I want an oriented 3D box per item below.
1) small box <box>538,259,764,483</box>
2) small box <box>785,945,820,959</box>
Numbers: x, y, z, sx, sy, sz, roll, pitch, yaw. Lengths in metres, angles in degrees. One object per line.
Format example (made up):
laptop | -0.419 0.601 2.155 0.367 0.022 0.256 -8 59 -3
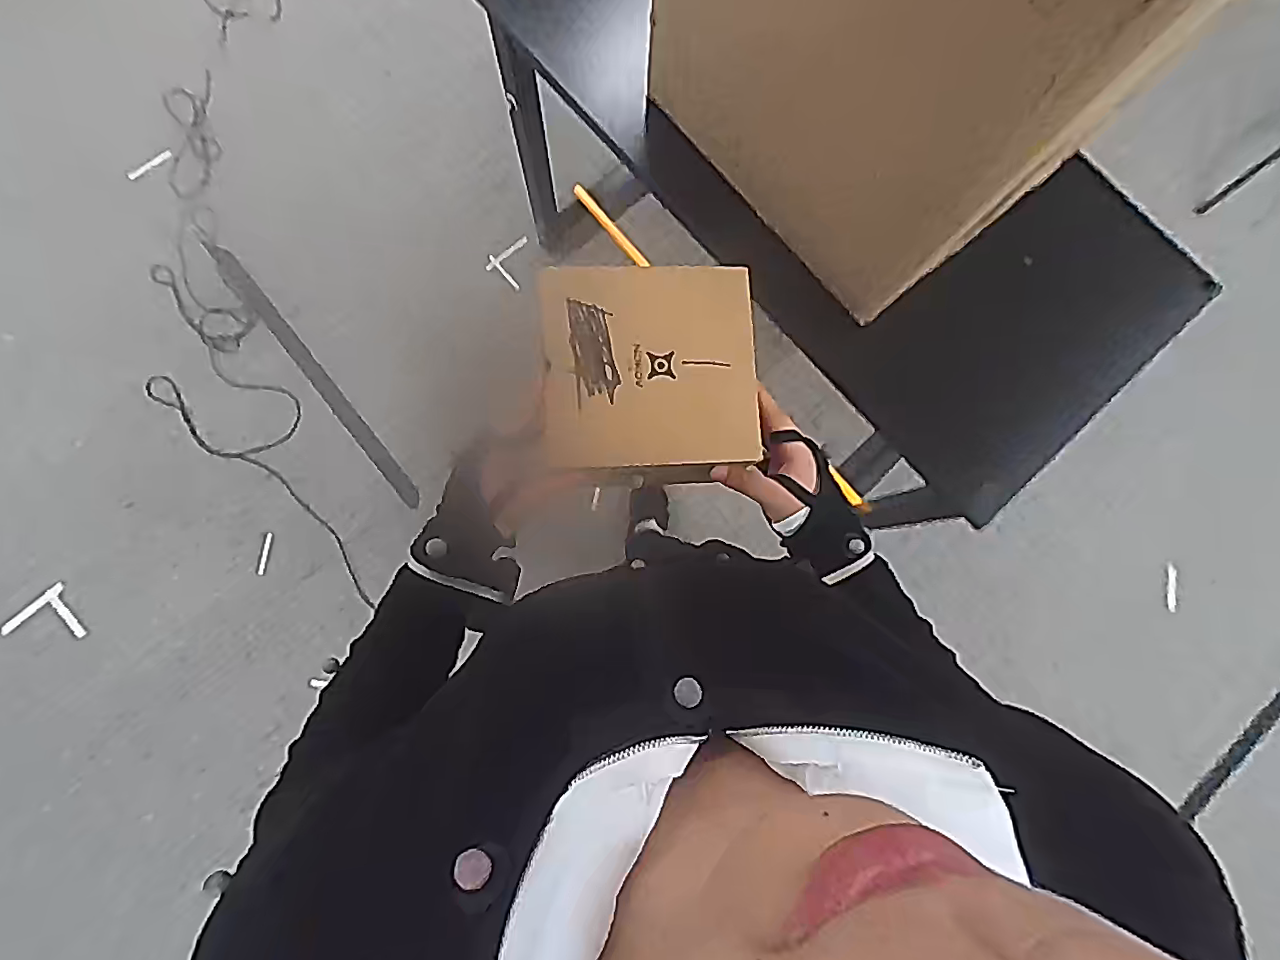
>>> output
small box | 0.003 -0.089 0.511 0.179 0.176 0.168 -3 84 -5
small box | 0.414 1.260 1.262 0.179 0.176 0.168 44 81 6
